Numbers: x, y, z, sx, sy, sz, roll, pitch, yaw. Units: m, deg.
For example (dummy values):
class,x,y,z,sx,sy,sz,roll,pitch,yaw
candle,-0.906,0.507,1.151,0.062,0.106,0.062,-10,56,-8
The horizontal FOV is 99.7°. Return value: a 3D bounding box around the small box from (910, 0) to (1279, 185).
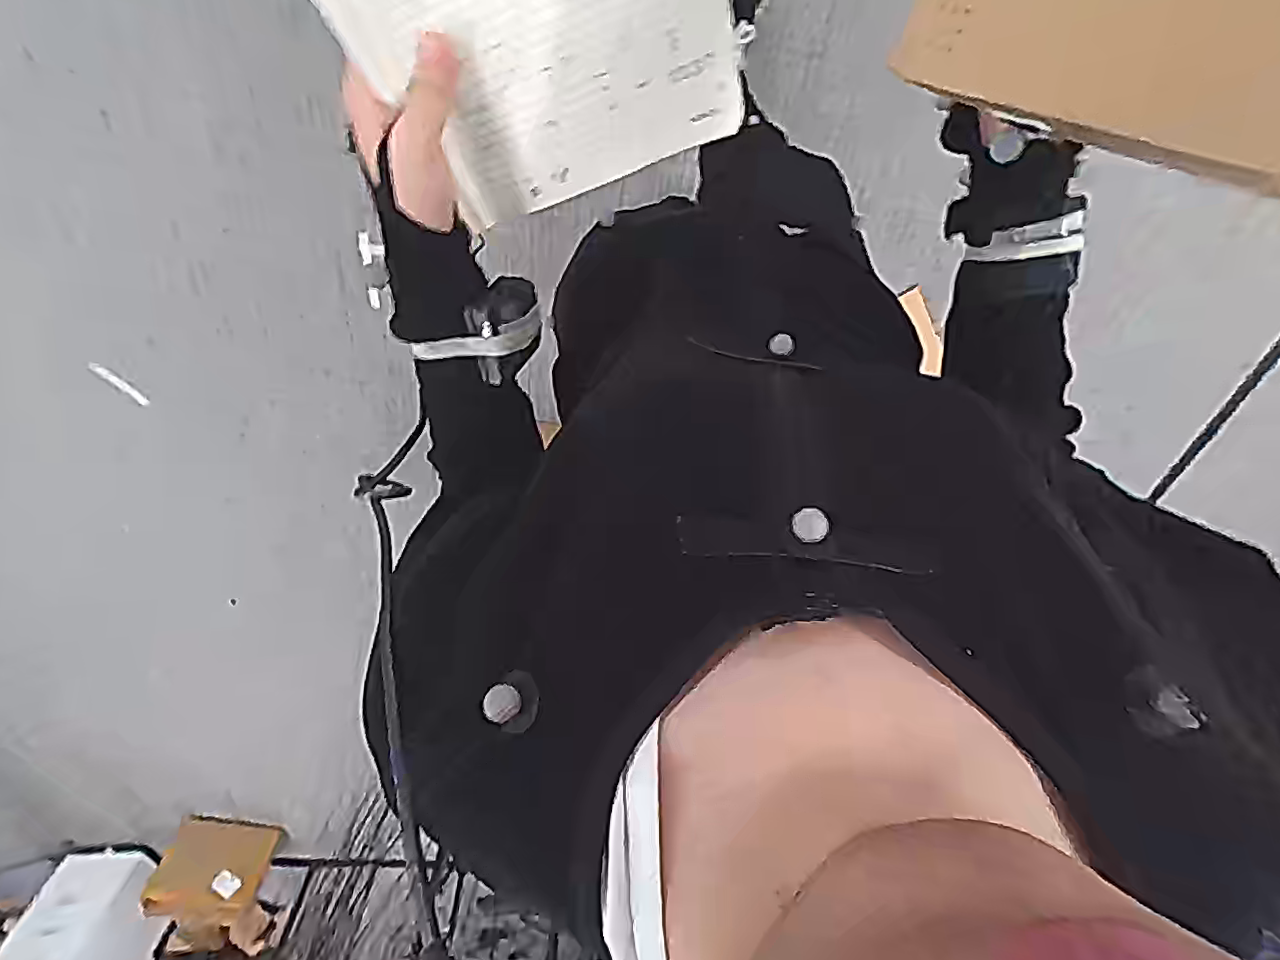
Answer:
class,x,y,z,sx,sy,sz,roll,pitch,yaw
small box,0.242,-0.222,0.193,0.168,0.176,0.179,-10,136,-29
